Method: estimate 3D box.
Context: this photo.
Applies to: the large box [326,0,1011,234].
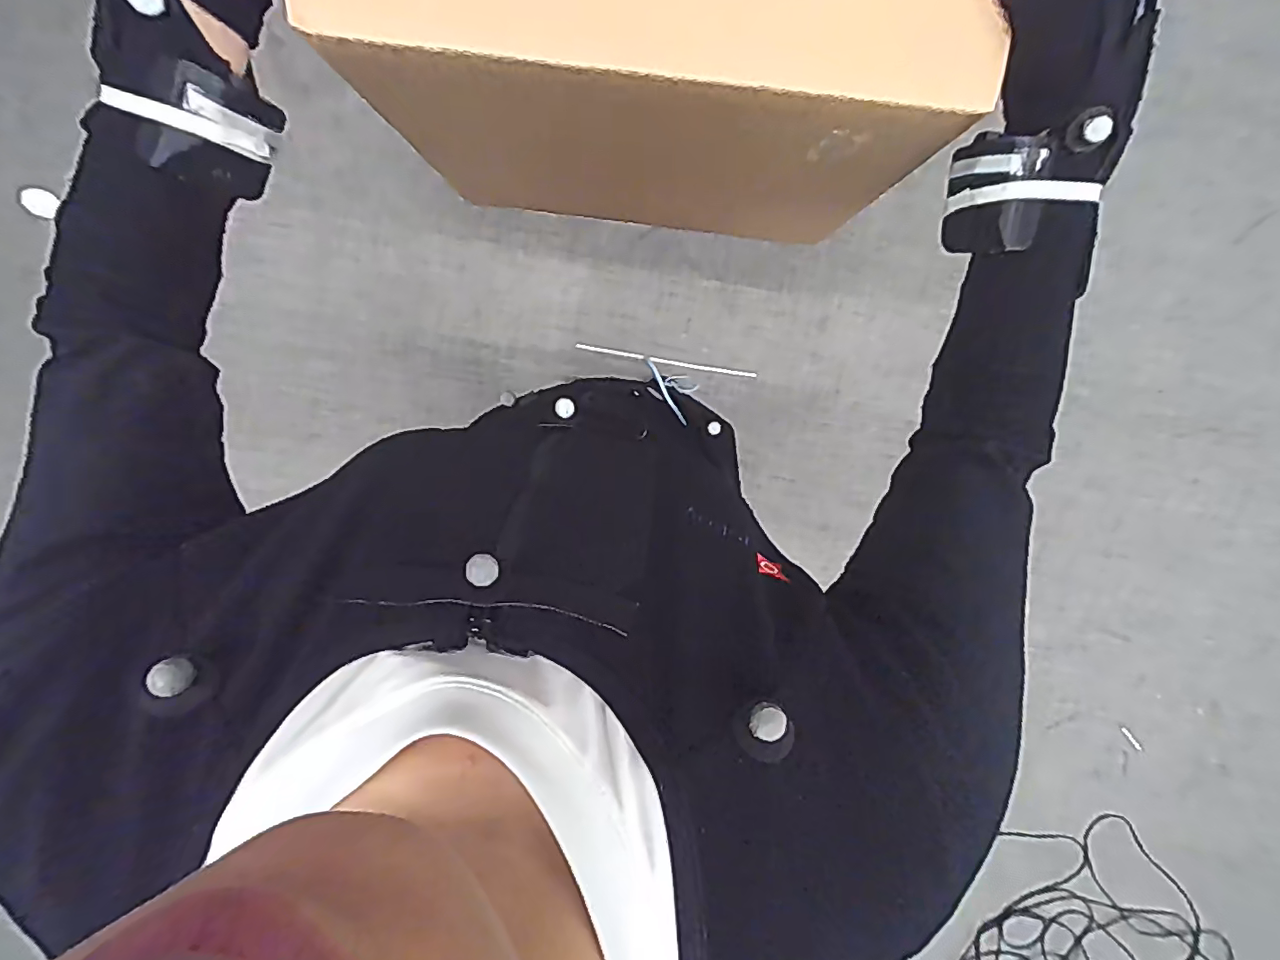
[{"bbox_3d":[0.025,-0.417,0.438,0.408,0.320,0.320,6,101,-2],"label":"large box"}]
